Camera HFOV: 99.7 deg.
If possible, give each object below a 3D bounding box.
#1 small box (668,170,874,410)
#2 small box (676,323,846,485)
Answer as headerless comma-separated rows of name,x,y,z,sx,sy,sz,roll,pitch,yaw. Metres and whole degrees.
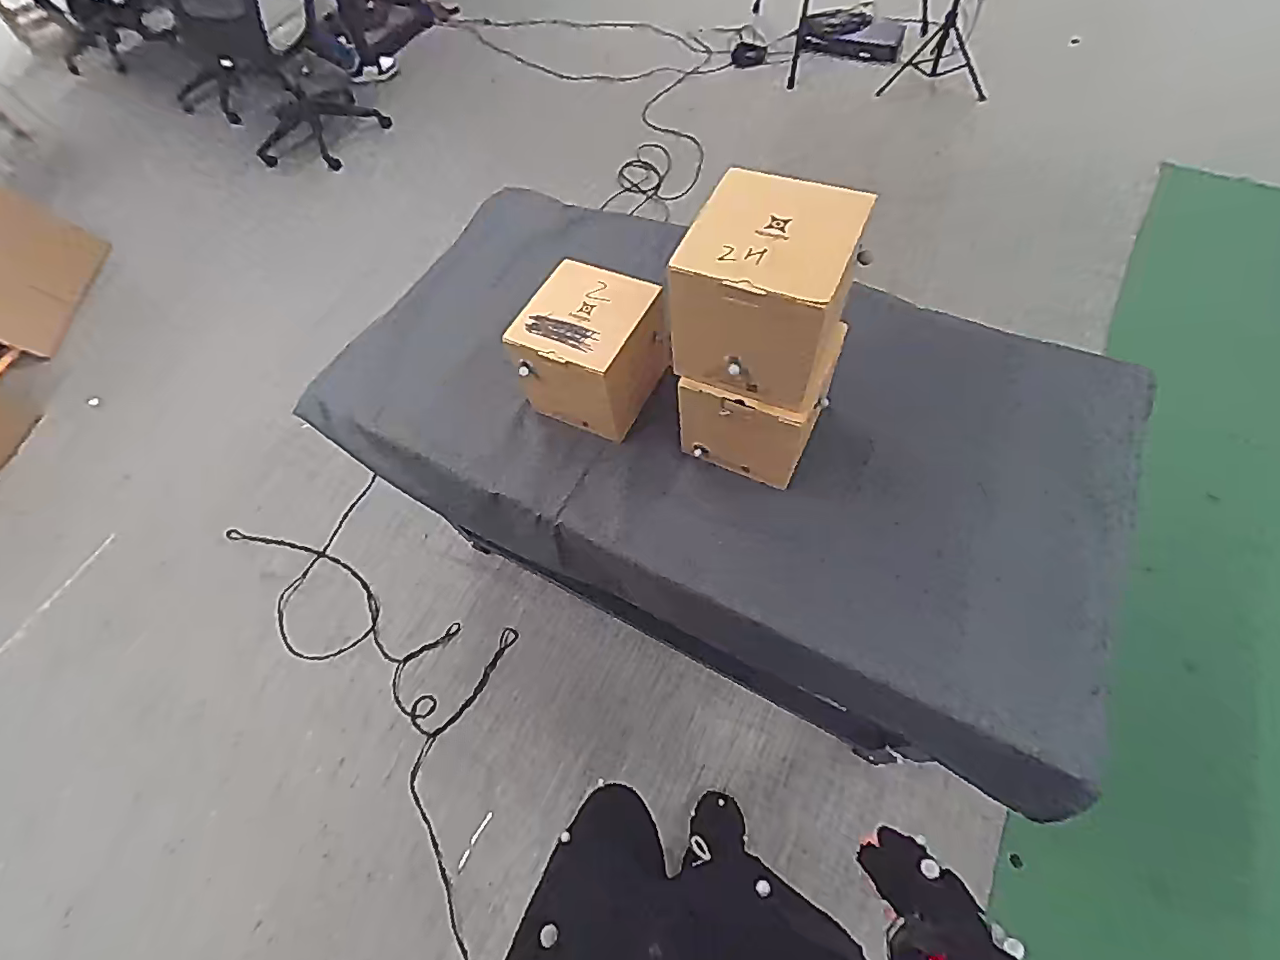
small box,0.143,-0.213,0.622,0.168,0.176,0.179,21,66,17
small box,0.164,-0.119,0.756,0.168,0.176,0.179,23,66,17
